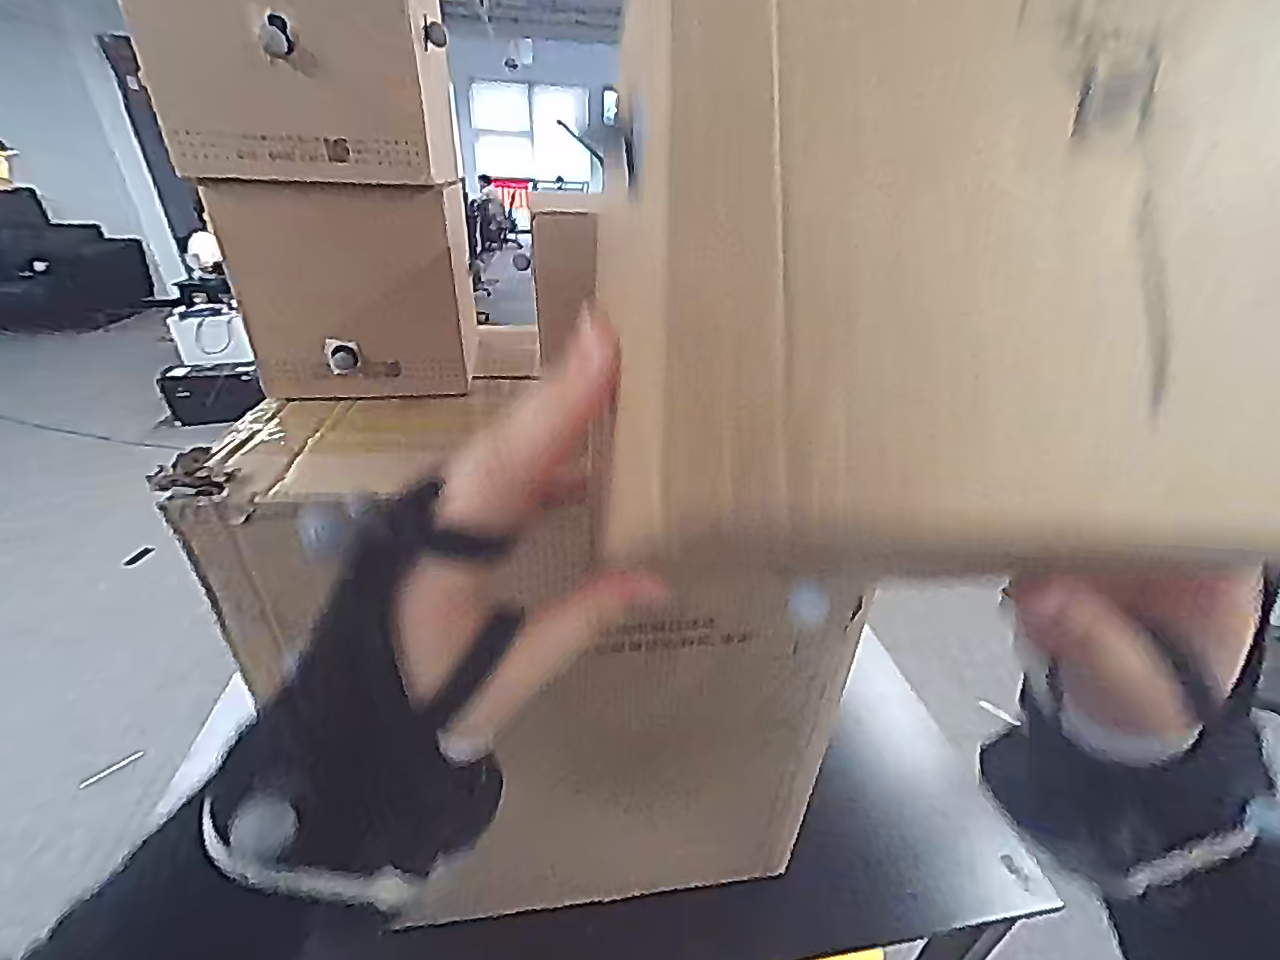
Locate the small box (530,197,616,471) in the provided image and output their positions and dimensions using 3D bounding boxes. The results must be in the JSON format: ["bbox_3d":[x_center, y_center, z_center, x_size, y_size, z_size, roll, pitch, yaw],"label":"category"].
[{"bbox_3d":[0.003,-0.122,0.426,0.168,0.176,0.179,-5,32,-9],"label":"small box"}]

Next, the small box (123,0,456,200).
[{"bbox_3d":[-0.241,-0.311,0.410,0.168,0.176,0.179,-4,31,-10],"label":"small box"}]

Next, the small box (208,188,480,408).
[{"bbox_3d":[-0.246,-0.177,0.505,0.168,0.176,0.179,-5,31,-12],"label":"small box"}]

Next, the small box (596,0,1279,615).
[{"bbox_3d":[0.074,-0.046,0.187,0.168,0.179,0.176,3,-13,-8],"label":"small box"}]
